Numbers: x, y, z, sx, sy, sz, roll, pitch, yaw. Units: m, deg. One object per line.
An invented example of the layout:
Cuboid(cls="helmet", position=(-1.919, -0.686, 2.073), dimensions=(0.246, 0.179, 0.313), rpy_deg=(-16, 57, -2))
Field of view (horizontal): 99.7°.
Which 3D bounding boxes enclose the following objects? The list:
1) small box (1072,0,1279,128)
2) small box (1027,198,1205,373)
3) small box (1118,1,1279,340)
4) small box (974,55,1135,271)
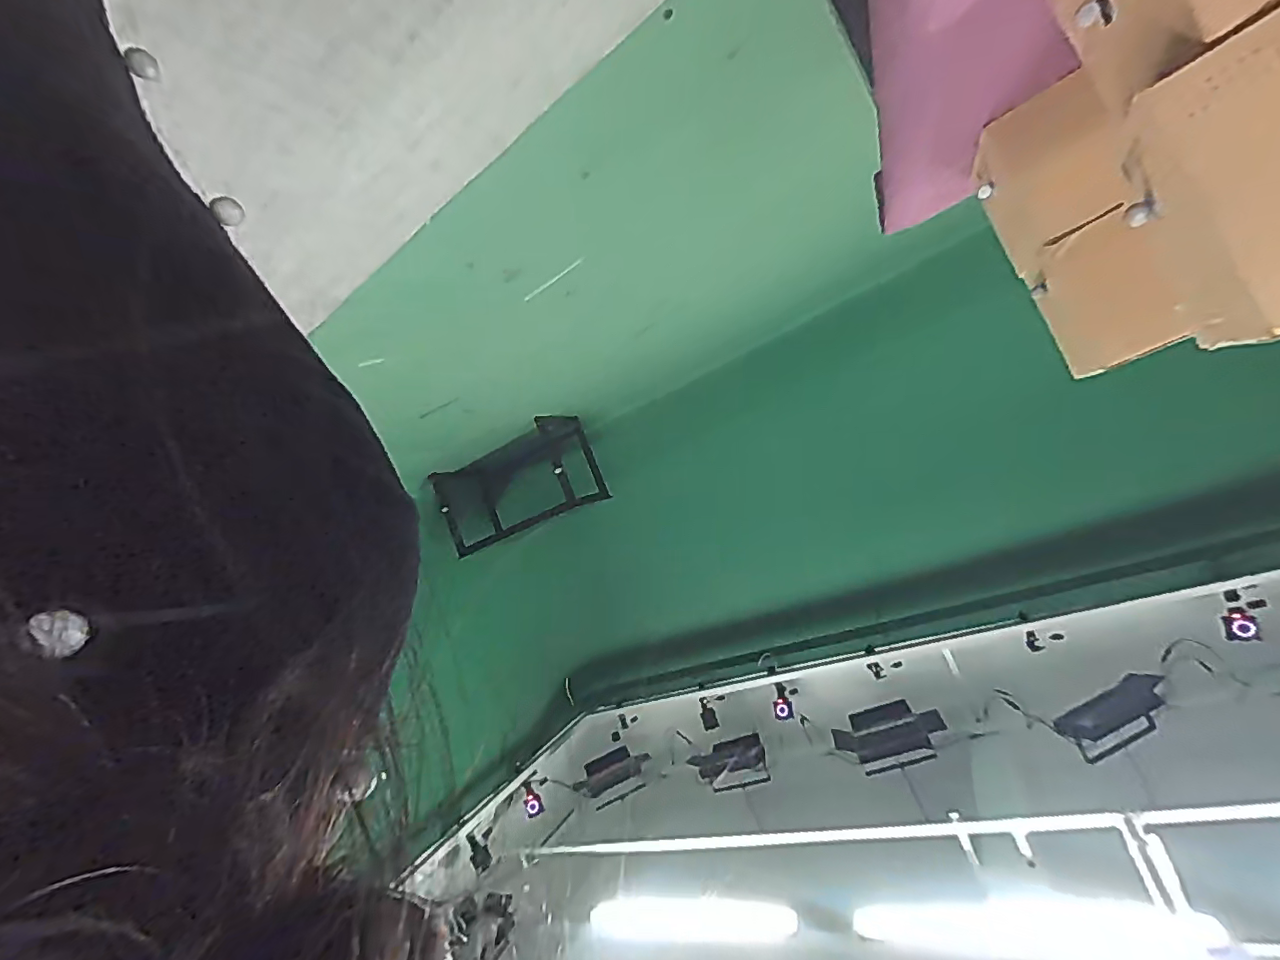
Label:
Cuboid(cls="small box", position=(0.400, -0.366, 0.331), dimensions=(0.179, 0.176, 0.168), rpy_deg=(-25, 175, 30))
Cuboid(cls="small box", position=(0.617, -0.250, 0.658), dimensions=(0.179, 0.176, 0.168), rpy_deg=(-25, 173, 29))
Cuboid(cls="small box", position=(0.440, -0.204, 0.323), dimensions=(0.179, 0.176, 0.168), rpy_deg=(-25, 174, 37))
Cuboid(cls="small box", position=(0.556, -0.400, 0.678), dimensions=(0.179, 0.176, 0.168), rpy_deg=(-25, 174, 26))
